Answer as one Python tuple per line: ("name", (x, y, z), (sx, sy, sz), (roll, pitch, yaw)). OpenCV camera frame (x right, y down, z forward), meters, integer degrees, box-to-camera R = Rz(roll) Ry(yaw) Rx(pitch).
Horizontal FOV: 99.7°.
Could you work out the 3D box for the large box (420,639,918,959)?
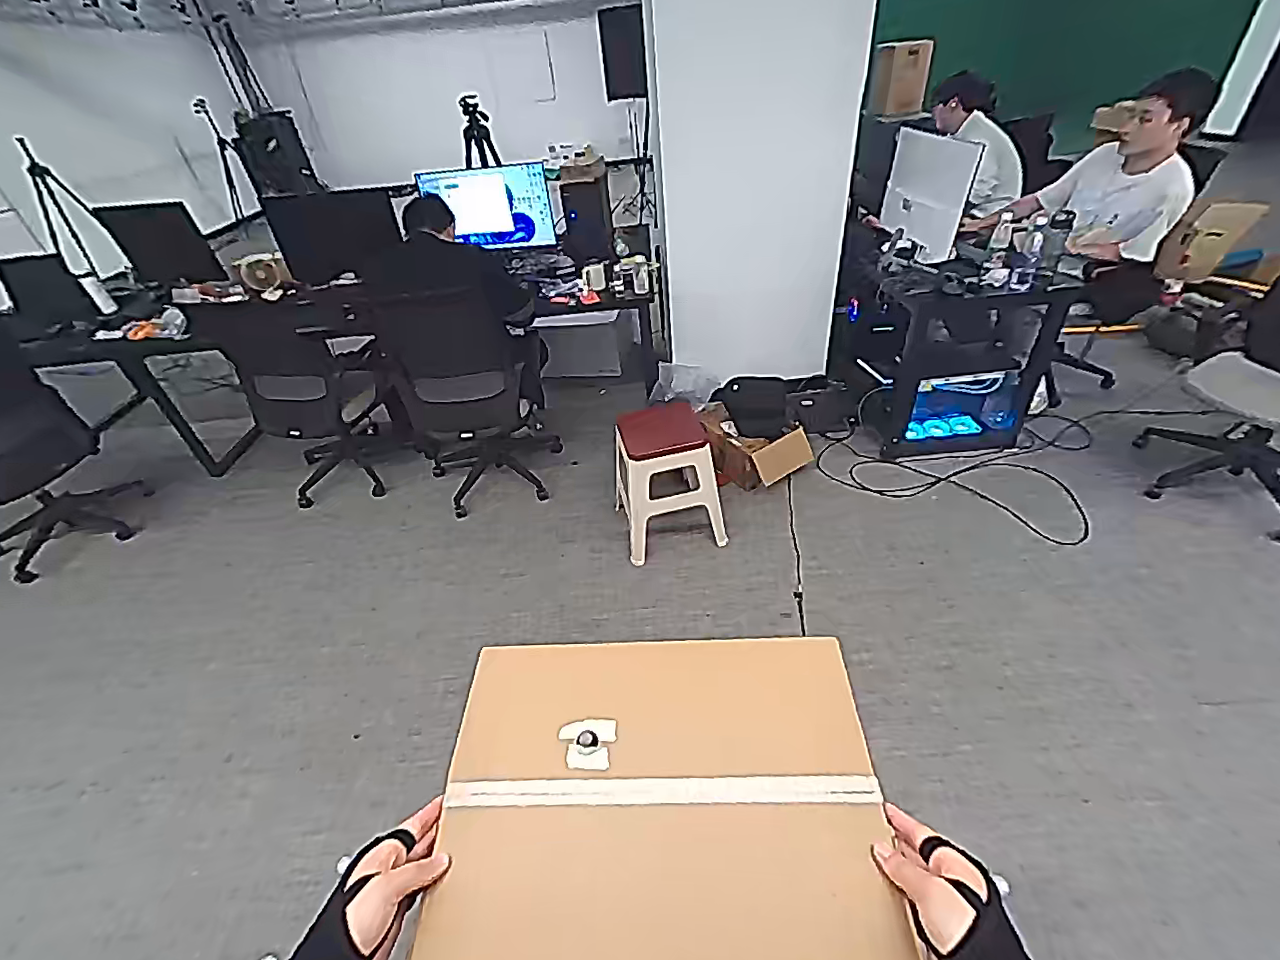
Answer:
("large box", (0.033, 0.407, 0.616), (0.408, 0.320, 0.320), (-4, 43, 5))
